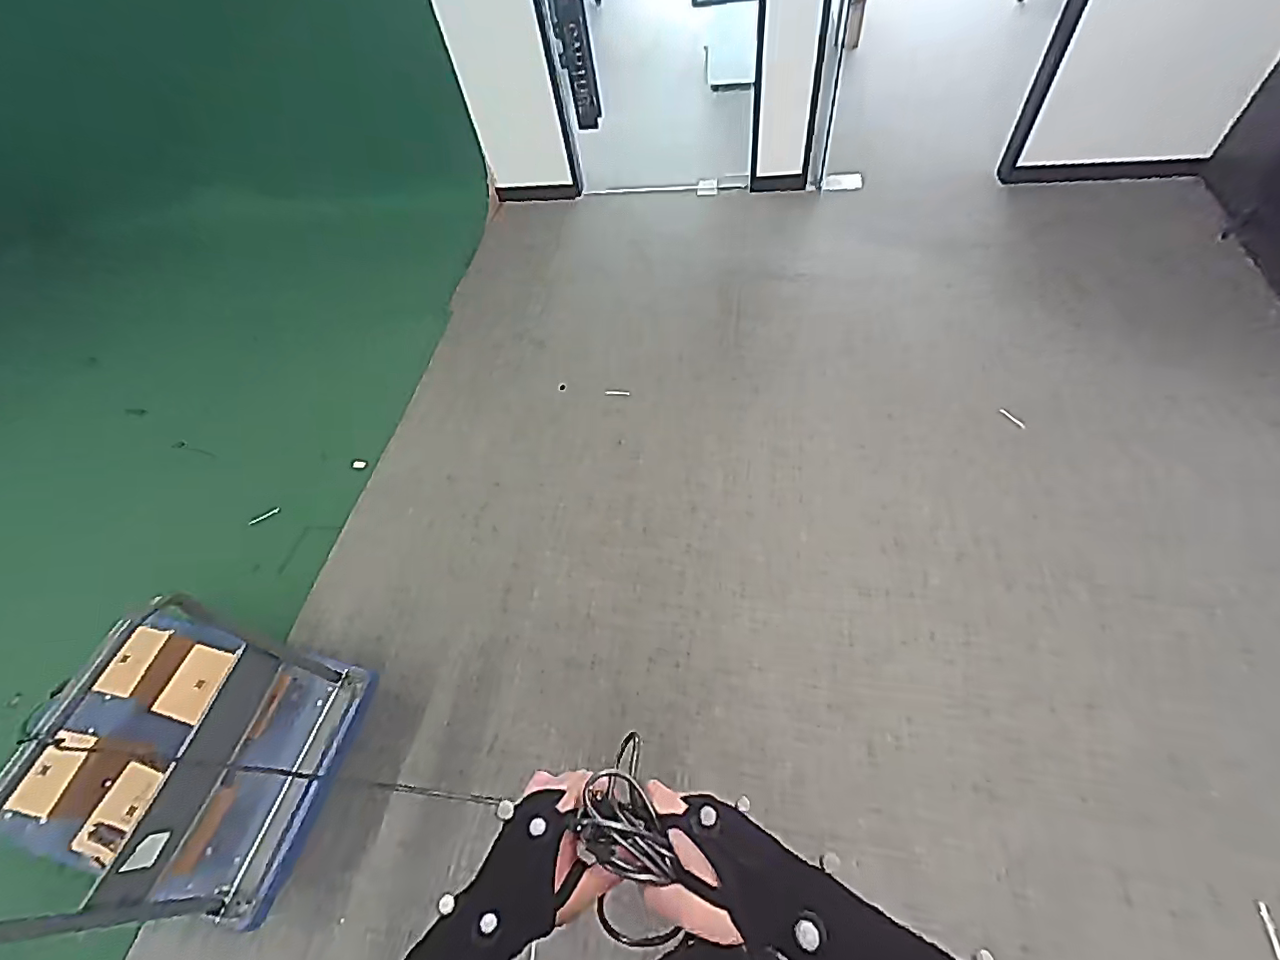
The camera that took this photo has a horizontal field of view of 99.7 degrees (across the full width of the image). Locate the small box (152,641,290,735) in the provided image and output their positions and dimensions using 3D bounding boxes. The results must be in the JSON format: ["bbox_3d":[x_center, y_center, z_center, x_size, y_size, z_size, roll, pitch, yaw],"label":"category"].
[{"bbox_3d":[-1.052,0.533,1.373,0.179,0.176,0.168,11,58,12],"label":"small box"}]

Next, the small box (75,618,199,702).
[{"bbox_3d":[-1.298,0.486,1.432,0.179,0.176,0.168,8,59,11],"label":"small box"}]

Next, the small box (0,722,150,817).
[{"bbox_3d":[-1.355,0.698,1.299,0.179,0.176,0.168,6,57,11],"label":"small box"}]
